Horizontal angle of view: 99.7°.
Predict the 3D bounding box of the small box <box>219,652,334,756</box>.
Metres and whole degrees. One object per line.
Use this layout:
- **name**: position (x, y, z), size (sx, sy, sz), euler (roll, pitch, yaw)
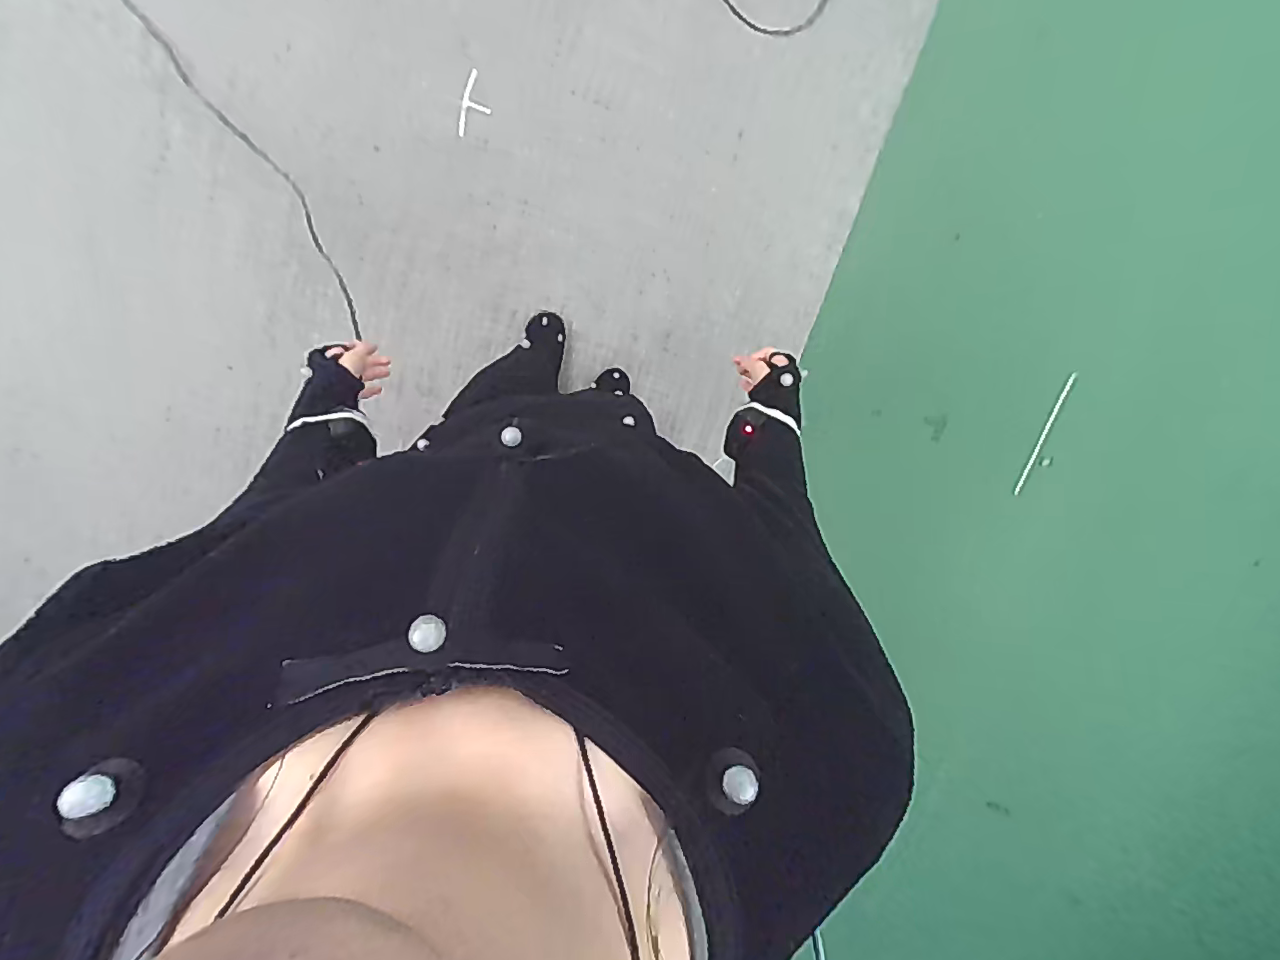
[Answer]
- **small box**: position (-0.966, 0.594, 1.455), size (0.179, 0.176, 0.168), euler (28, 99, -12)
